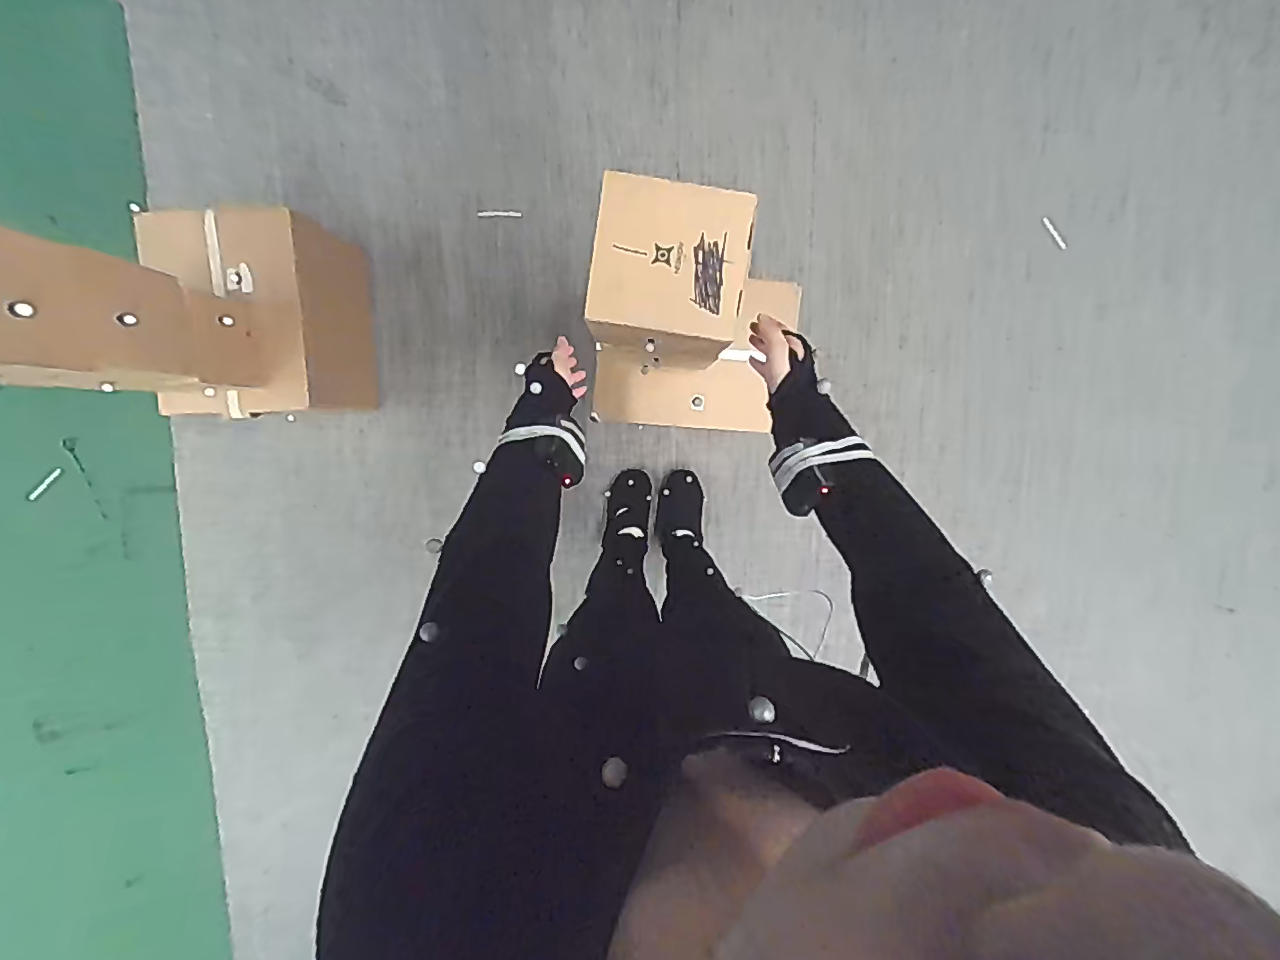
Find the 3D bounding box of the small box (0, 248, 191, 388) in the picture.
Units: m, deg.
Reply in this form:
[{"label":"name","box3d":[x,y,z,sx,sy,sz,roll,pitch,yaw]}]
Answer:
[{"label":"small box","box3d":[-0.854,-0.240,0.843,0.168,0.176,0.179,-7,96,0]}]

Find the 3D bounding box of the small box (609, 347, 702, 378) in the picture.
[{"label":"small box","box3d":[0.035,-0.290,1.017,0.168,0.176,0.179,5,95,-2]}]

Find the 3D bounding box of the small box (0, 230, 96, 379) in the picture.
[{"label":"small box","box3d":[-0.850,-0.220,0.680,0.168,0.176,0.179,-5,97,0]}]

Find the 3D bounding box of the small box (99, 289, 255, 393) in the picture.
[{"label":"small box","box3d":[-0.856,-0.251,1.007,0.179,0.176,0.168,-3,96,0]}]

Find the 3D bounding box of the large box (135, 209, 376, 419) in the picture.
[{"label":"large box","box3d":[-0.844,-0.350,1.241,0.320,0.320,0.408,-2,96,-1]}]

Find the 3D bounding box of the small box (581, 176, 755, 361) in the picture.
[{"label":"small box","box3d":[0.031,-0.252,0.690,0.179,0.176,0.168,9,95,-1]}]
